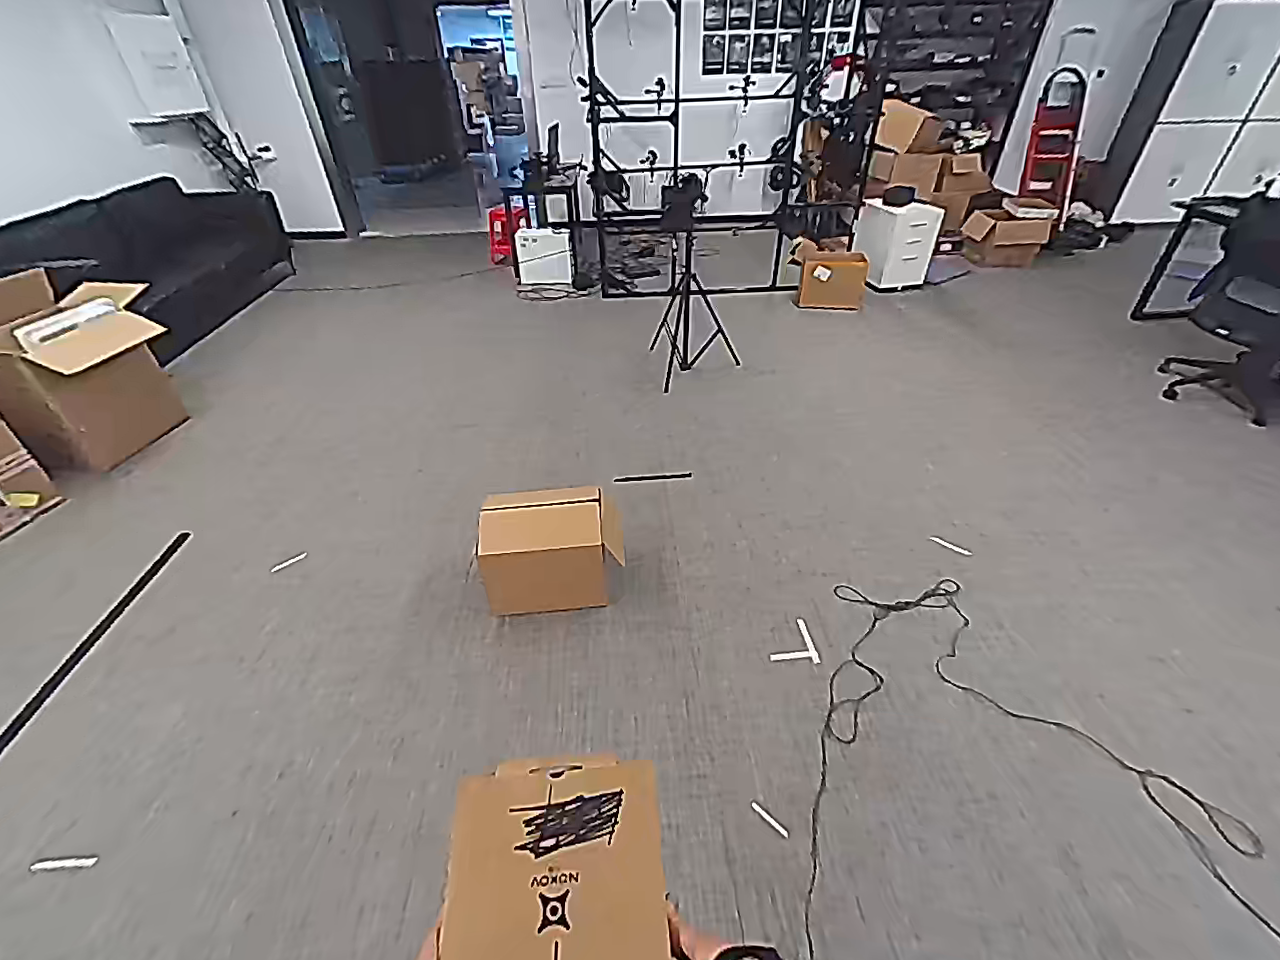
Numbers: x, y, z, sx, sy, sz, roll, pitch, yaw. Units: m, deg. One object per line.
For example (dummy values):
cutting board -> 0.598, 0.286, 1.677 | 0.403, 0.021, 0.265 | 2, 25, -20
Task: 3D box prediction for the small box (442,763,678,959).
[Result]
small box -> -0.061, 0.361, 0.455 | 0.168, 0.176, 0.179 | -3, 50, -5
